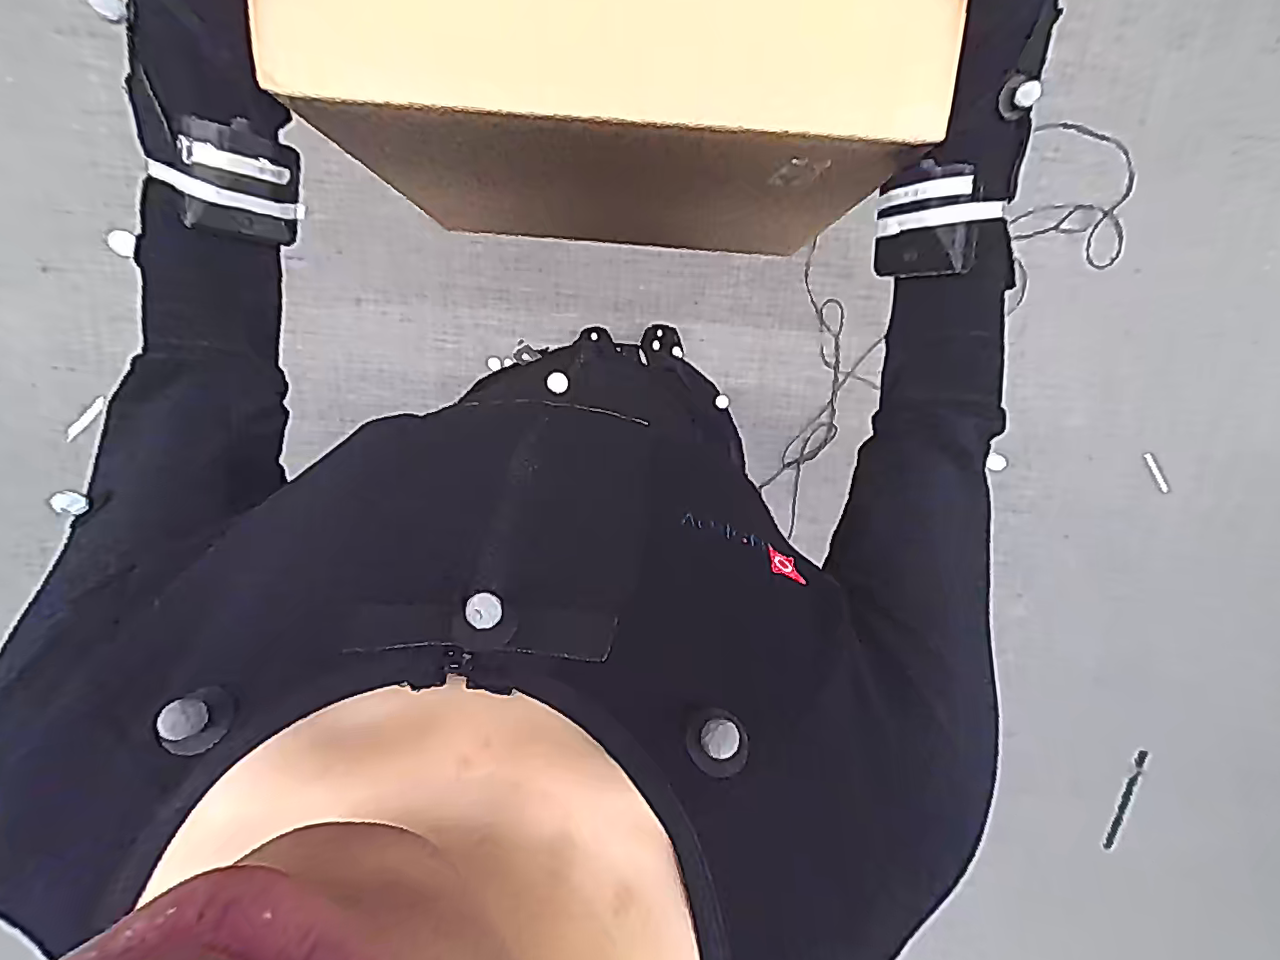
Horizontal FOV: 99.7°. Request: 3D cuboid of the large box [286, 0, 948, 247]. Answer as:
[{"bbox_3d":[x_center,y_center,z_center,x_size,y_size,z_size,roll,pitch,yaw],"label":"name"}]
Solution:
[{"bbox_3d":[-0.011,-0.402,0.454,0.408,0.320,0.320,3,101,-2],"label":"large box"}]
